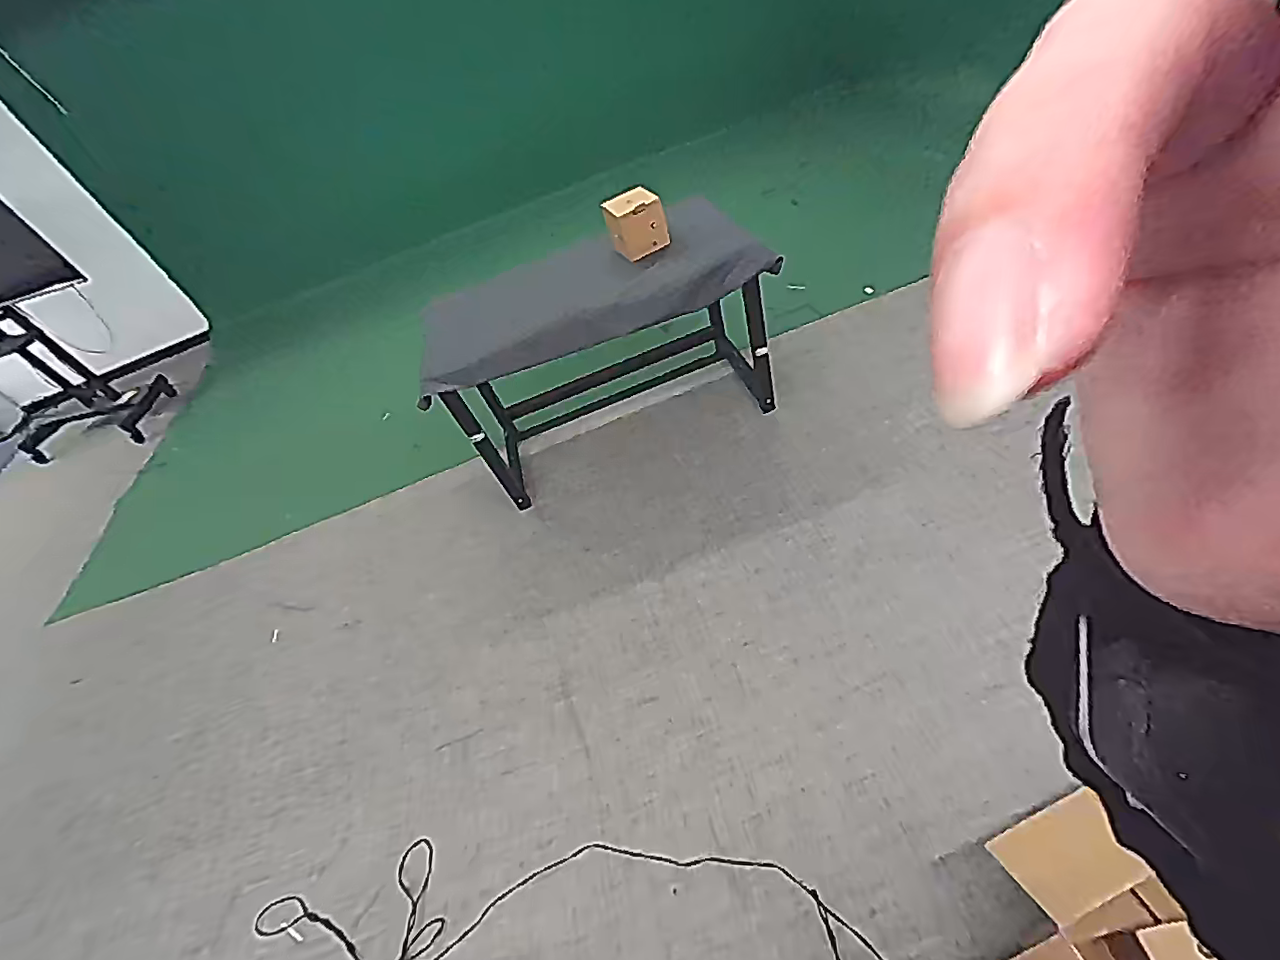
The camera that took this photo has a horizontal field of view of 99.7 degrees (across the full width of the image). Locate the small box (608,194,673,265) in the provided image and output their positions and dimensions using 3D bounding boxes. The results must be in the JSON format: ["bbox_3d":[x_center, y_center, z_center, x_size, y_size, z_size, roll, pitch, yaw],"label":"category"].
[{"bbox_3d":[0.005,-0.908,1.972,0.168,0.176,0.179,-27,44,-7],"label":"small box"}]
